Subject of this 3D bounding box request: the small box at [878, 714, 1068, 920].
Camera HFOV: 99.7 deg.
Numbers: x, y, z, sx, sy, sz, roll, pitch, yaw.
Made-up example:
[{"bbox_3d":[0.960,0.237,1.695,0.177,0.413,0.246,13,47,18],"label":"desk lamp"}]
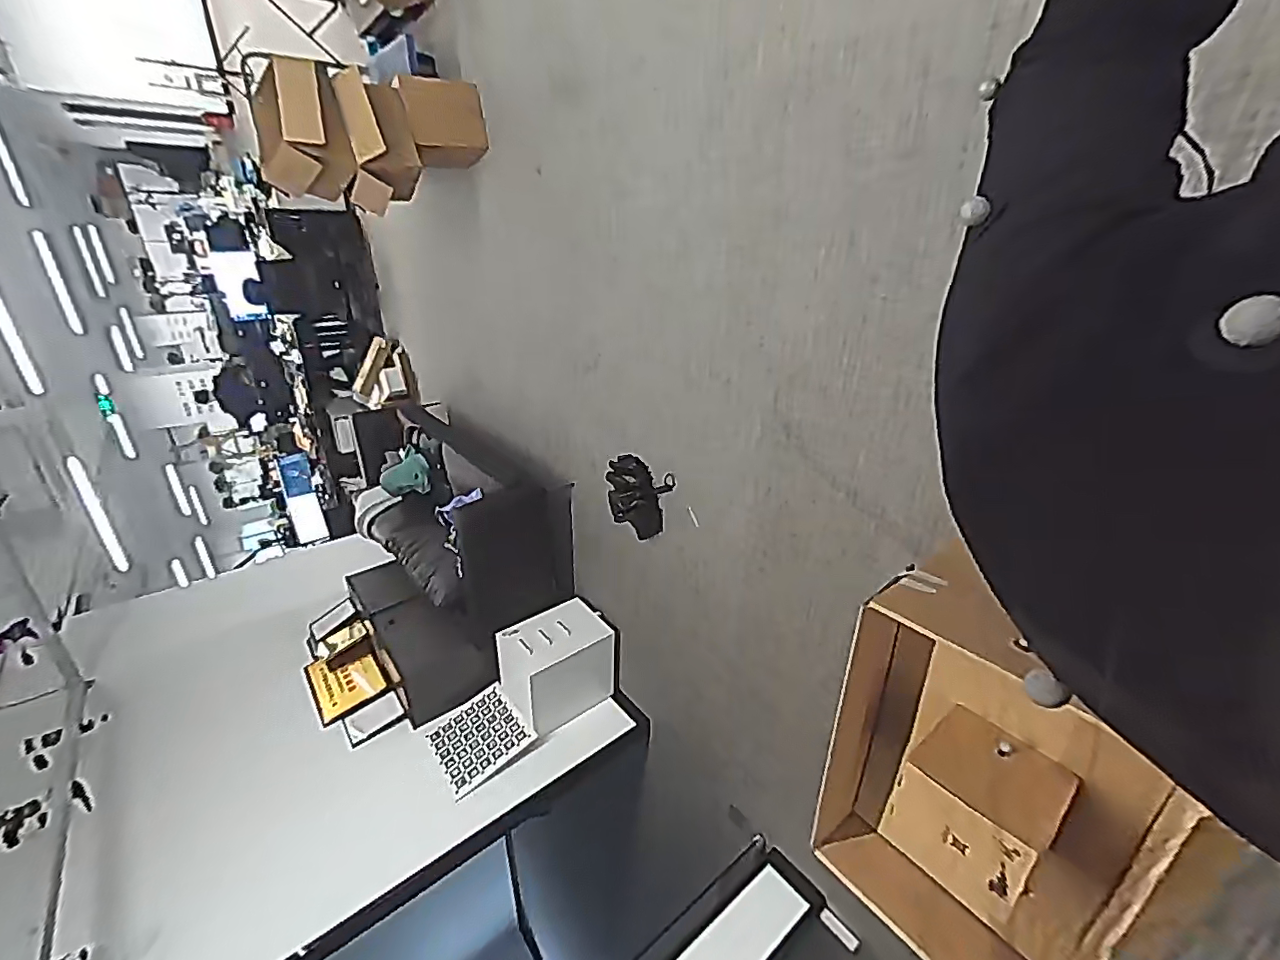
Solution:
[{"bbox_3d":[0.499,0.490,0.821,0.179,0.176,0.168,27,127,47],"label":"small box"}]
